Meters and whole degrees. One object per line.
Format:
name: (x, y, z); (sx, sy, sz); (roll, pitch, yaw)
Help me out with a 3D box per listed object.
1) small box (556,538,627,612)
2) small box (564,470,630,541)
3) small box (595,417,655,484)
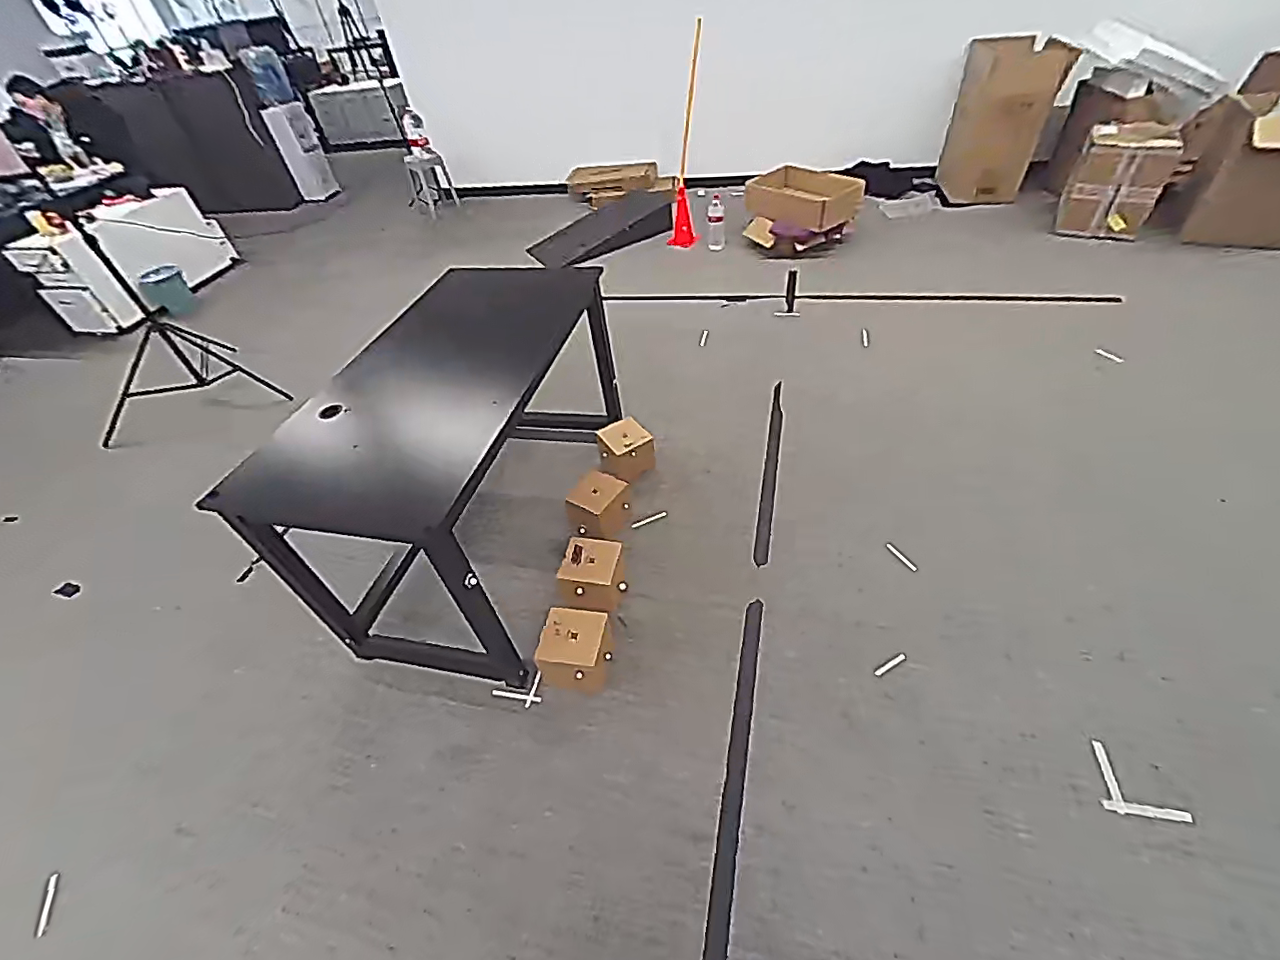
small box: (-0.151, 0.310, 1.753); (0.179, 0.176, 0.168); (5, 47, 12)
small box: (-0.148, 0.098, 1.967); (0.168, 0.176, 0.179); (21, 53, 28)
small box: (-0.058, -0.116, 2.162); (0.168, 0.176, 0.179); (-29, 48, -19)
